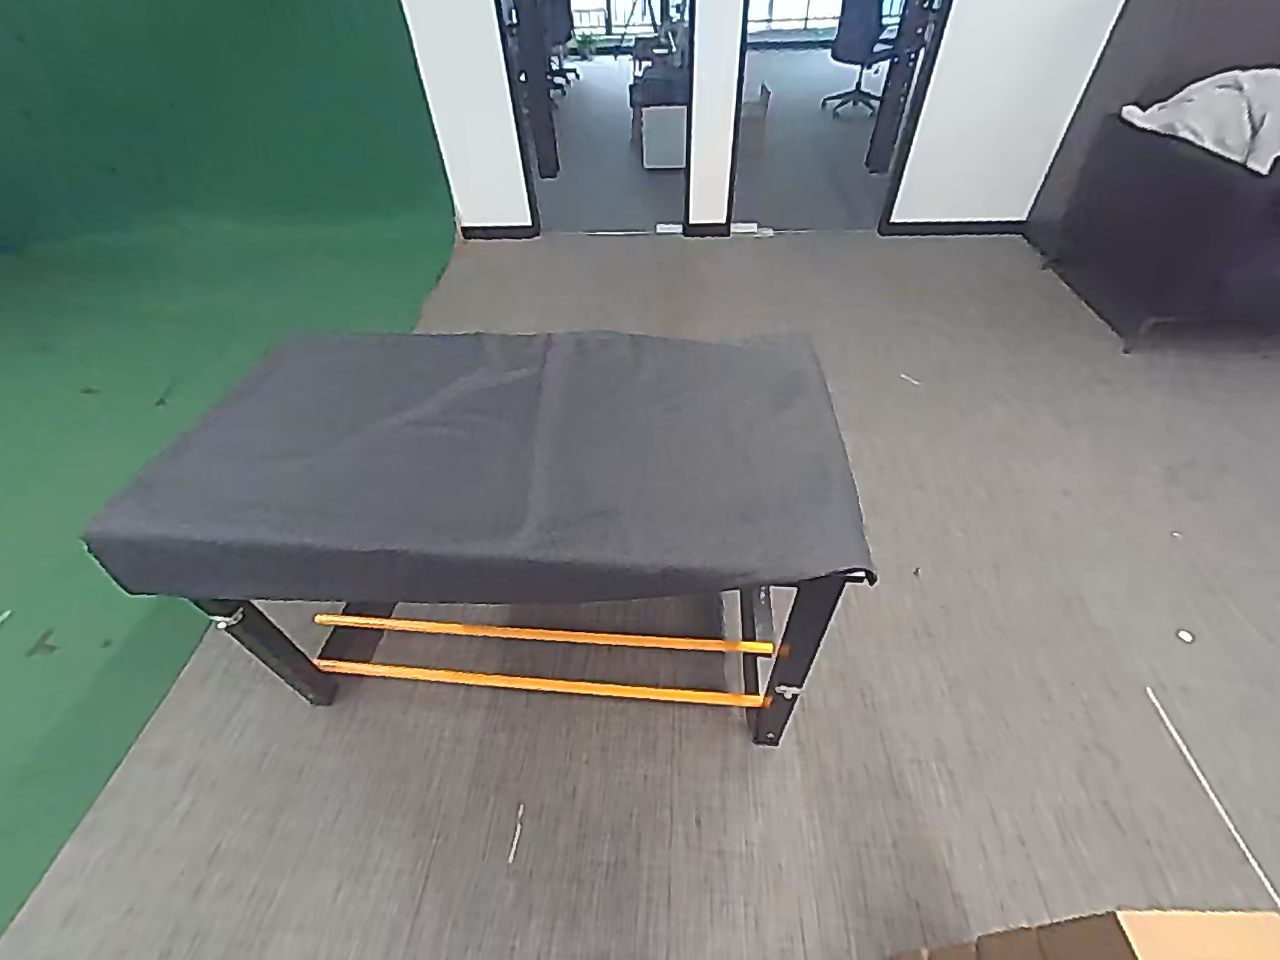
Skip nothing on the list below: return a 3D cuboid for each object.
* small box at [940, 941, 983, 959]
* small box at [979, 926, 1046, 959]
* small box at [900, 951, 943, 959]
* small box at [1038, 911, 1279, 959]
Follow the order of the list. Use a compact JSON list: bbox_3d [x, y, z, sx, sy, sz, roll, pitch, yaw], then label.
[{"bbox_3d":[0.563,0.782,0.780,0.179,0.176,0.168,-1,46,0],"label":"small box"},{"bbox_3d":[0.562,0.667,0.663,0.168,0.176,0.179,-1,46,1],"label":"small box"},{"bbox_3d":[0.556,0.895,0.898,0.179,0.176,0.168,-2,45,1],"label":"small box"},{"bbox_3d":[0.560,0.555,0.545,0.168,0.176,0.179,-1,45,1],"label":"small box"}]
